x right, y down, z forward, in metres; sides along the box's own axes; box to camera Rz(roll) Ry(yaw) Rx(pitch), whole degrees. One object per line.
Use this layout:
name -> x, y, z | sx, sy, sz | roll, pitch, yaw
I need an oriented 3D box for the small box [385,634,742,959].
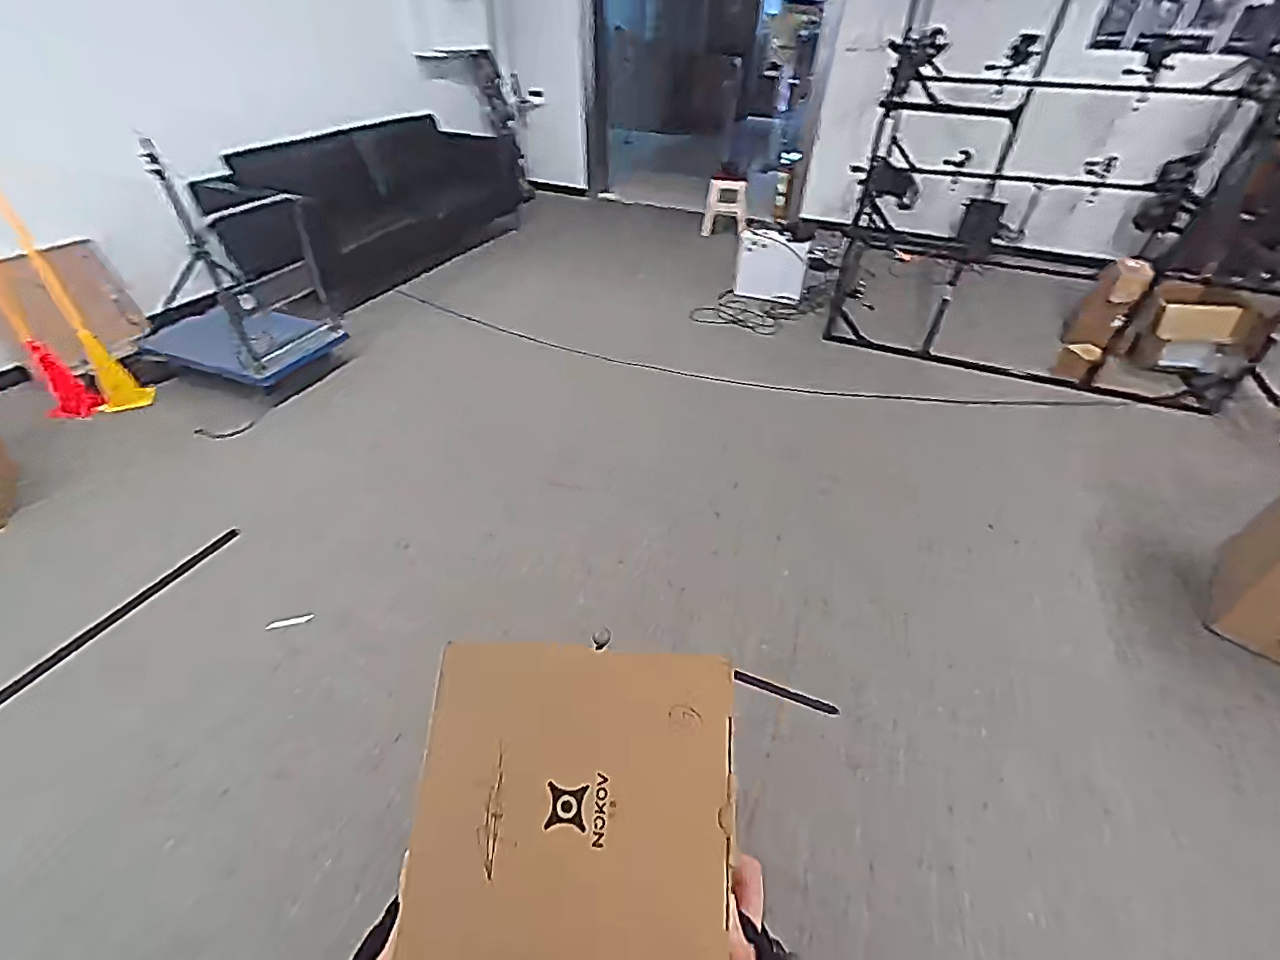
small box -> -0.035, 0.195, 0.365 | 0.179, 0.176, 0.168 | 4, 73, 1
